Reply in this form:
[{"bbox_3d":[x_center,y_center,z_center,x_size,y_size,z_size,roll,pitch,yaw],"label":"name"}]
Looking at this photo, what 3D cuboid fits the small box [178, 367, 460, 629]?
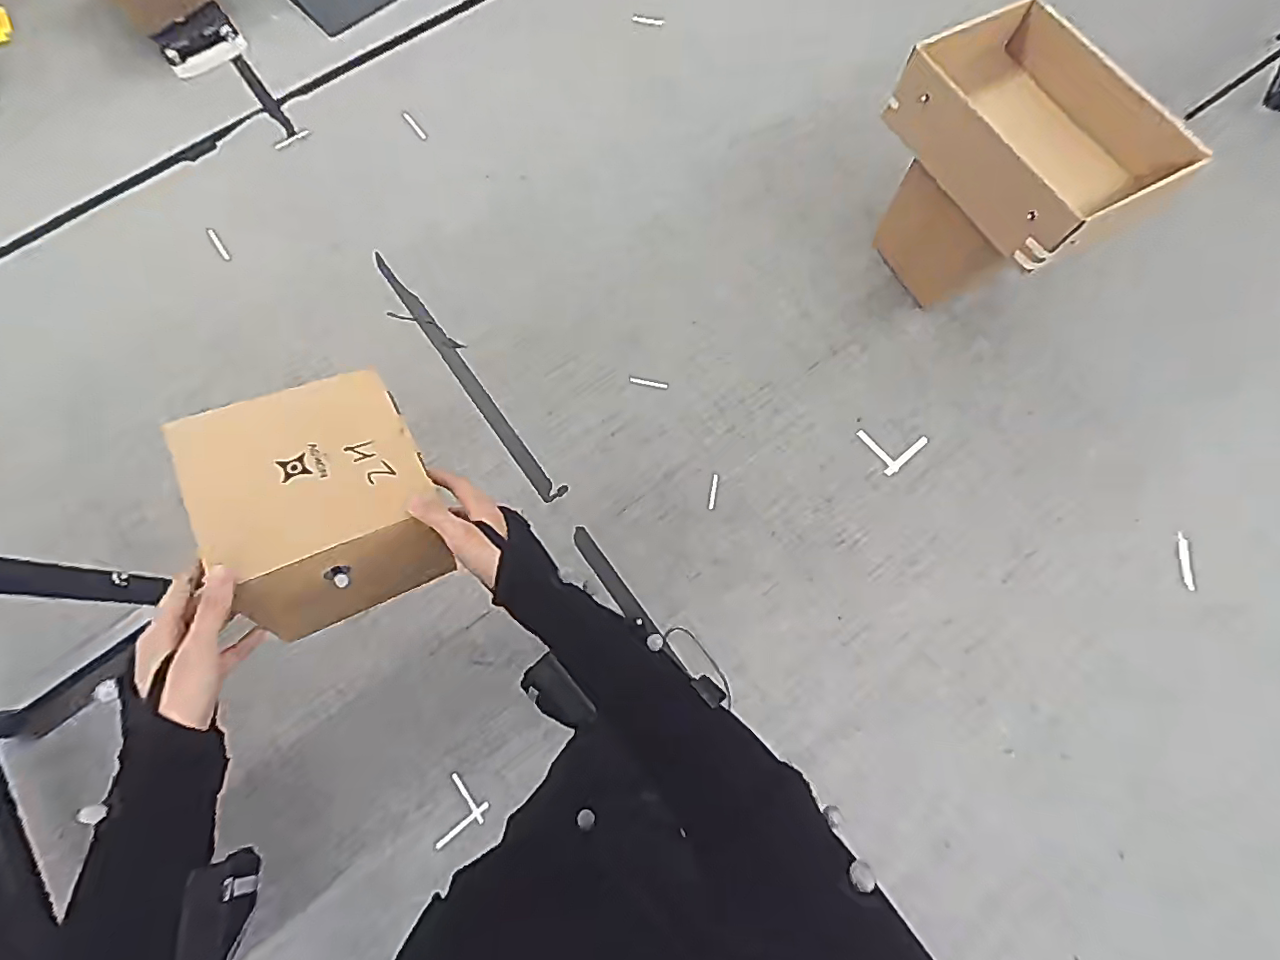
[{"bbox_3d":[-0.294,0.024,0.530,0.179,0.176,0.168,-23,70,-24],"label":"small box"}]
